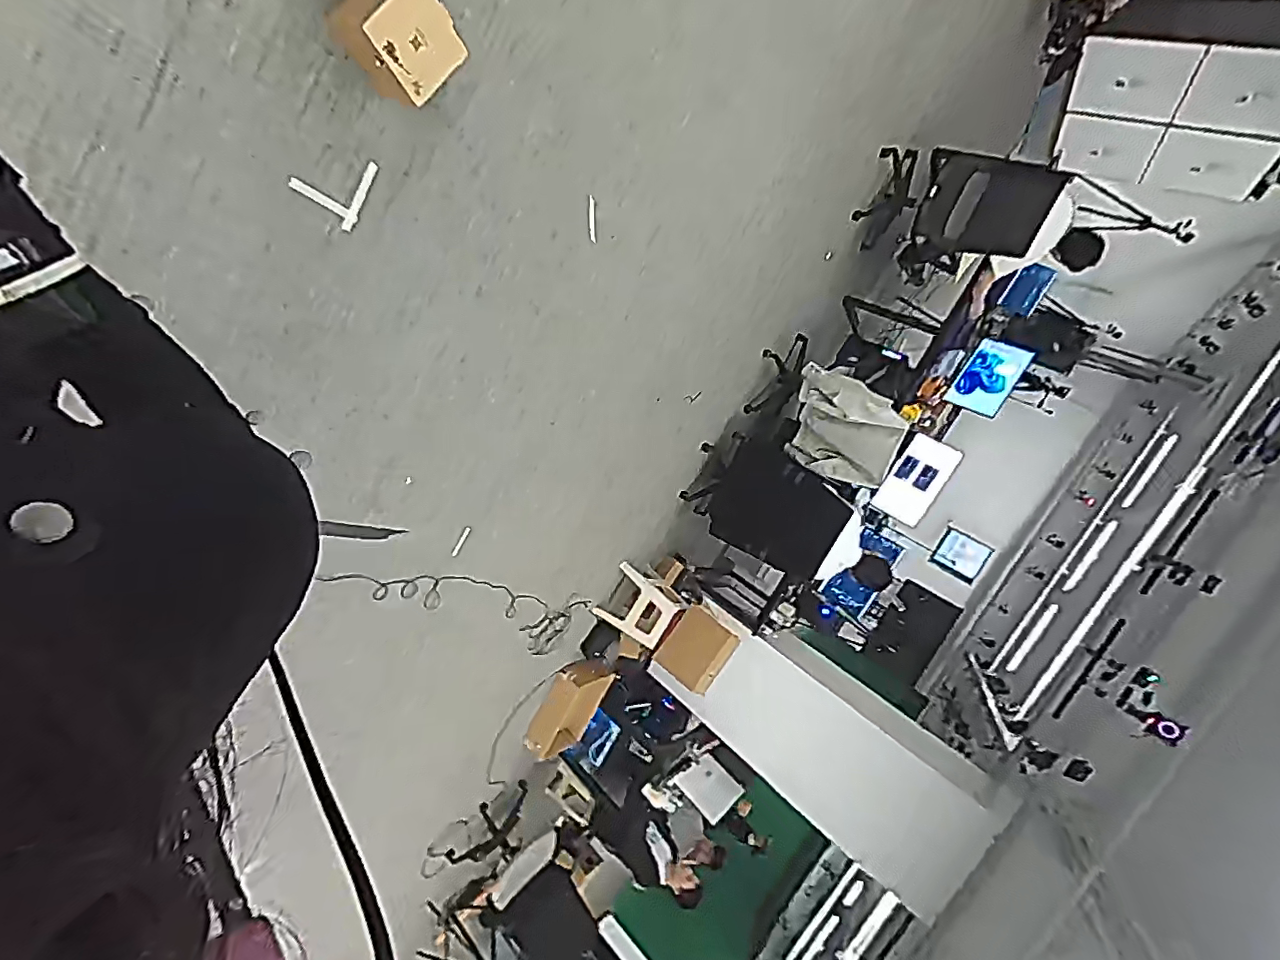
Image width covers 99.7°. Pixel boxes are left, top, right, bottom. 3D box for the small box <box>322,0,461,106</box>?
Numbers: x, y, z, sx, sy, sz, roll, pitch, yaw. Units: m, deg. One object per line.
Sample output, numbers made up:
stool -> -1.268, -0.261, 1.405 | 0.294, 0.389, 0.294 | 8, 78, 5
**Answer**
small box -> -0.531, -0.949, 1.155 | 0.179, 0.176, 0.168 | -52, 151, -8
